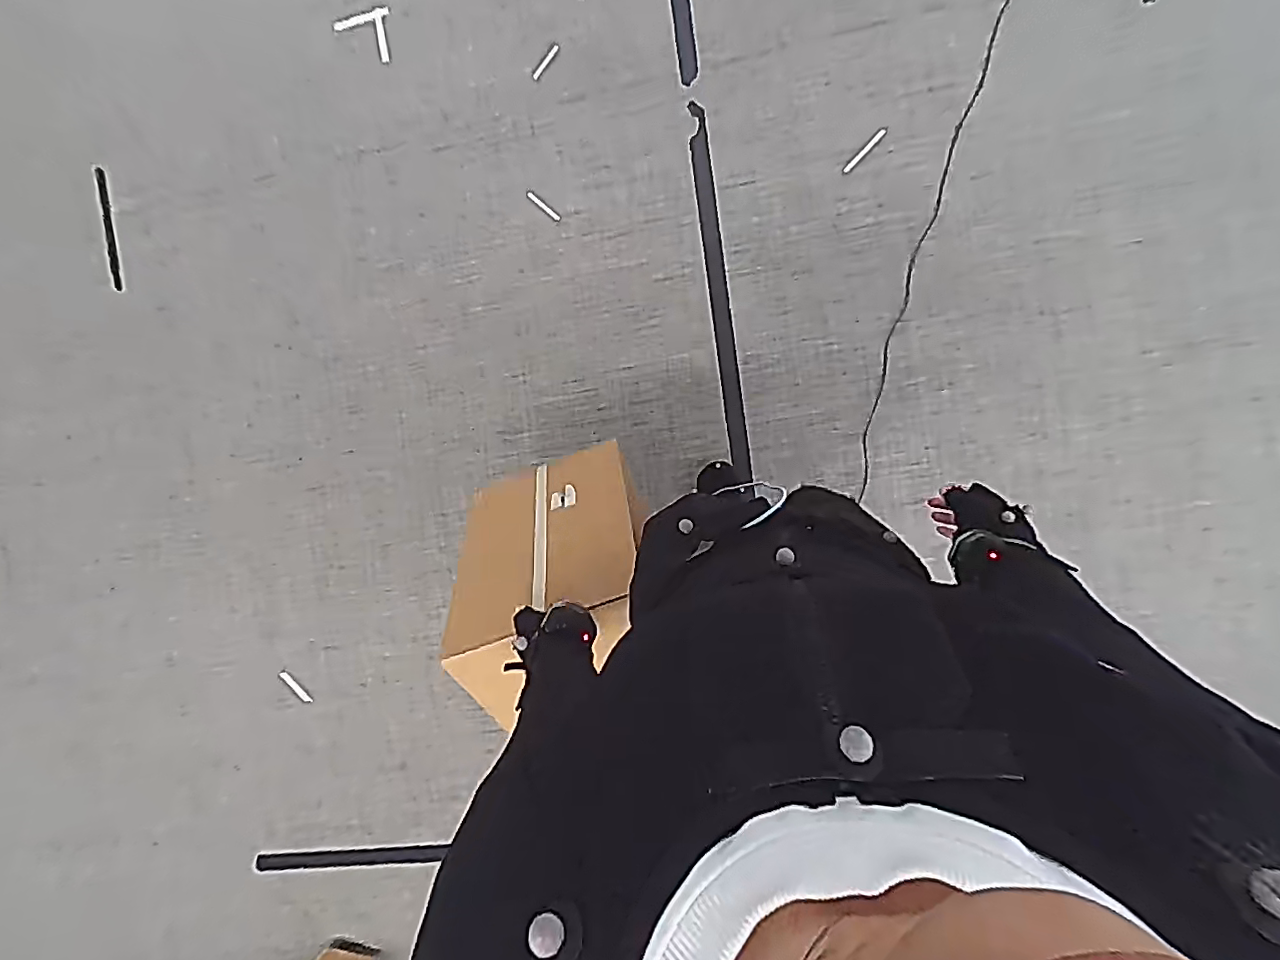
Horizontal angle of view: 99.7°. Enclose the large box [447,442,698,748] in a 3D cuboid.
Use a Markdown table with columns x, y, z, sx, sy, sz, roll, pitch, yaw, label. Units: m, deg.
| x | y | z | sx | sy | sz | roll | pitch | yaw | label |
| --- | --- | --- | --- | --- | --- | --- | --- | --- | --- |
| -0.115 | 0.199 | 1.003 | 0.320 | 0.408 | 0.320 | -19 | 126 | 4 | large box |
